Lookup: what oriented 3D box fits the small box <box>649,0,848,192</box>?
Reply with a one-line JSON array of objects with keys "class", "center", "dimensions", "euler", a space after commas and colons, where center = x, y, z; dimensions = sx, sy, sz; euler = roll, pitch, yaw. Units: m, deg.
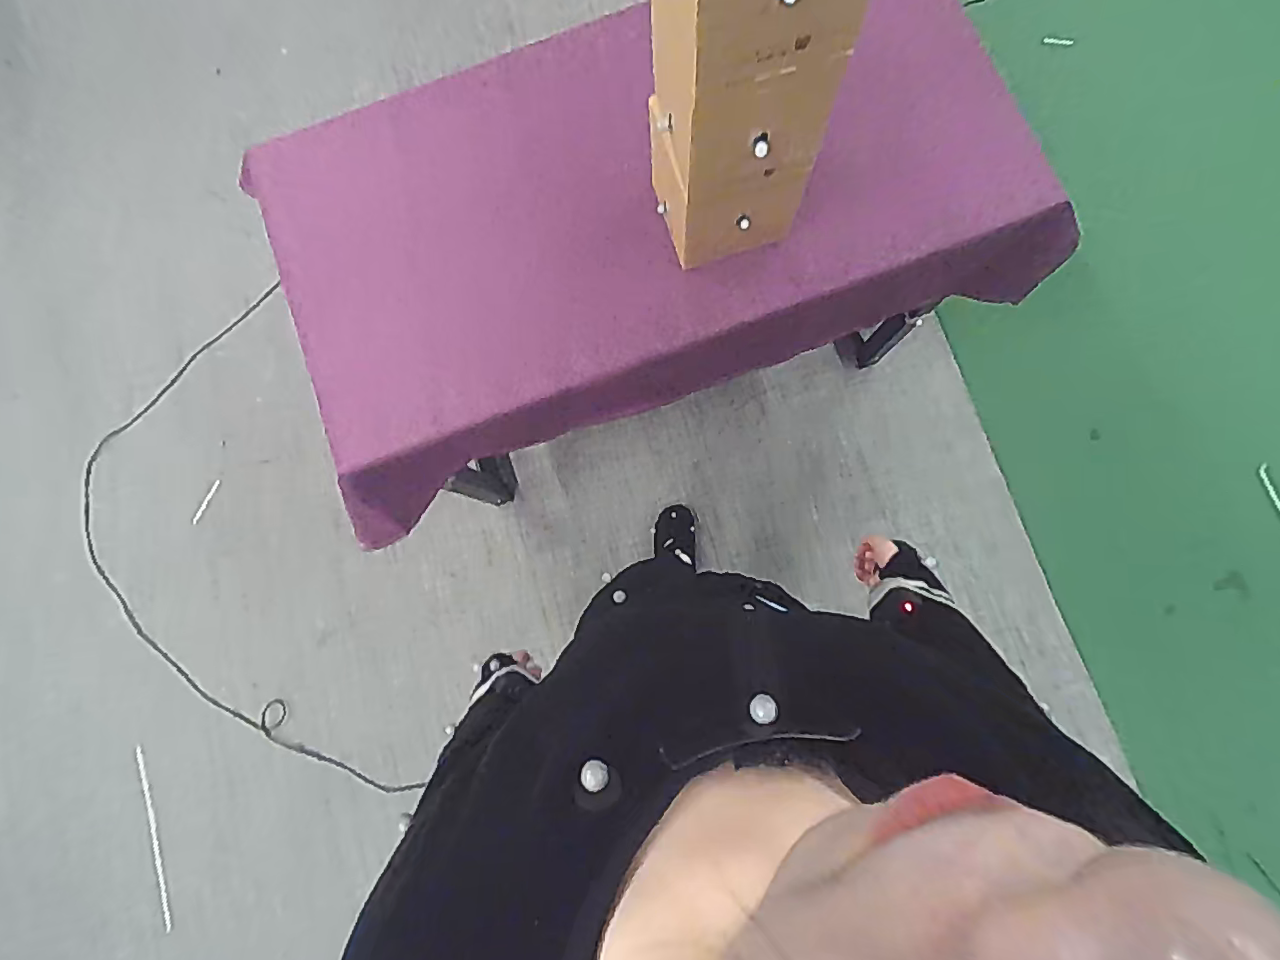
[{"class": "small box", "center": [0.111, -0.464, 0.621], "dimensions": [0.168, 0.176, 0.179], "euler": [-14, 82, 1]}]

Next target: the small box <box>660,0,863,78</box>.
[{"class": "small box", "center": [0.101, -0.487, 0.458], "dimensions": [0.168, 0.176, 0.179], "euler": [-16, 80, 1]}]
